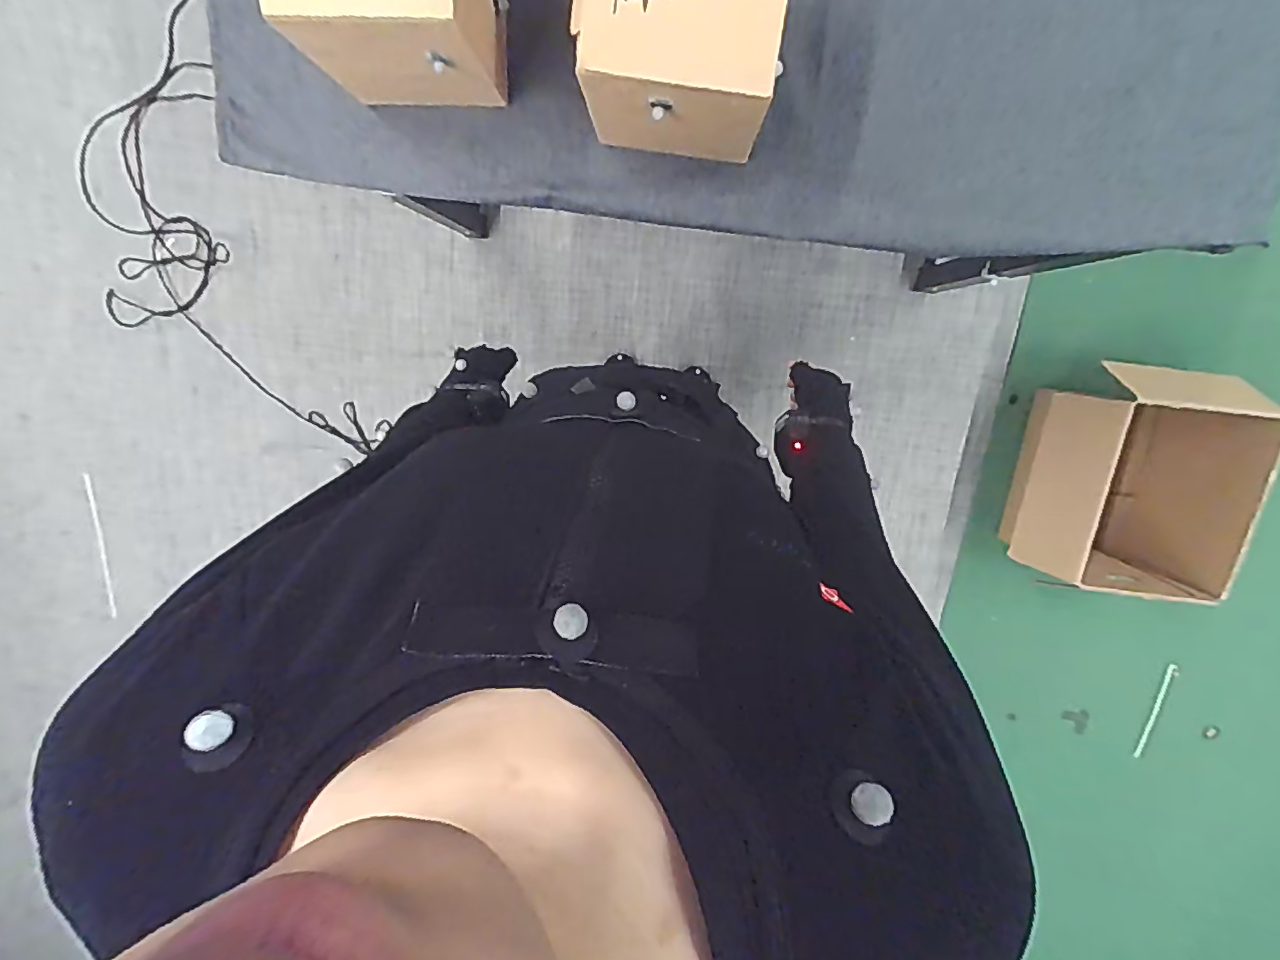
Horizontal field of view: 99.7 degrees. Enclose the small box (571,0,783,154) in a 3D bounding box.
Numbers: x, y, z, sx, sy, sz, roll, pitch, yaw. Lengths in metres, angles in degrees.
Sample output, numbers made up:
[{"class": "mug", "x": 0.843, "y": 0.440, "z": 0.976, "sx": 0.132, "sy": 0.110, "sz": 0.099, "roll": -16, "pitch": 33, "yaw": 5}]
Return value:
[{"class": "small box", "x": 0.041, "y": -0.443, "z": 0.528, "sx": 0.179, "sy": 0.176, "sz": 0.168, "roll": 8, "pitch": 104, "yaw": 1}]
